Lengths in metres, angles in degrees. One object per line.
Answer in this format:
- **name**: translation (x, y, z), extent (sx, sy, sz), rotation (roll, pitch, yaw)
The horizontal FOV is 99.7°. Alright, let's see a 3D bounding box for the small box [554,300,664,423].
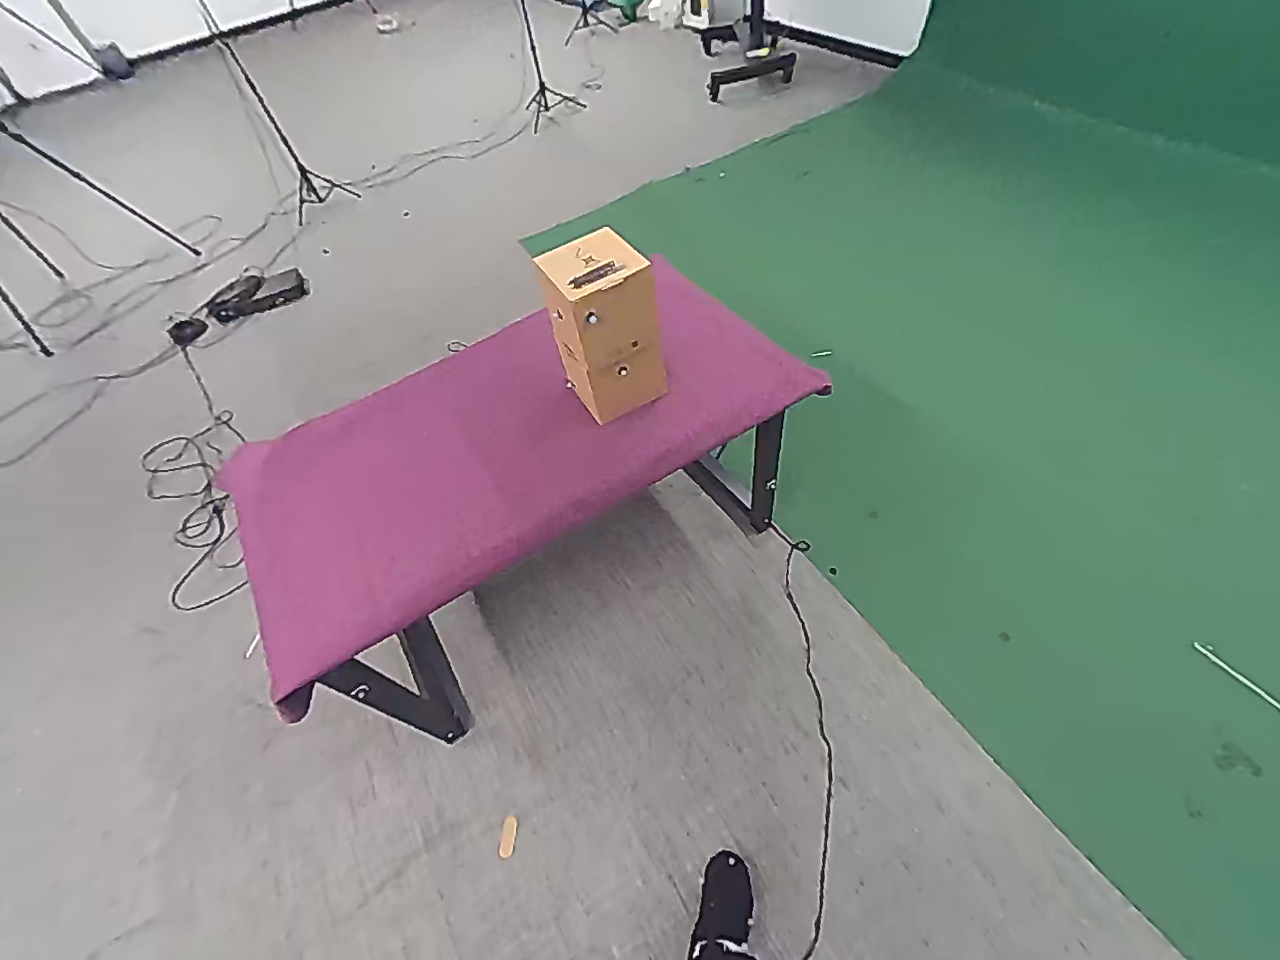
- **small box**: translation (-0.062, -0.255, 1.188), extent (0.179, 0.176, 0.168), rotation (-28, 55, -12)
